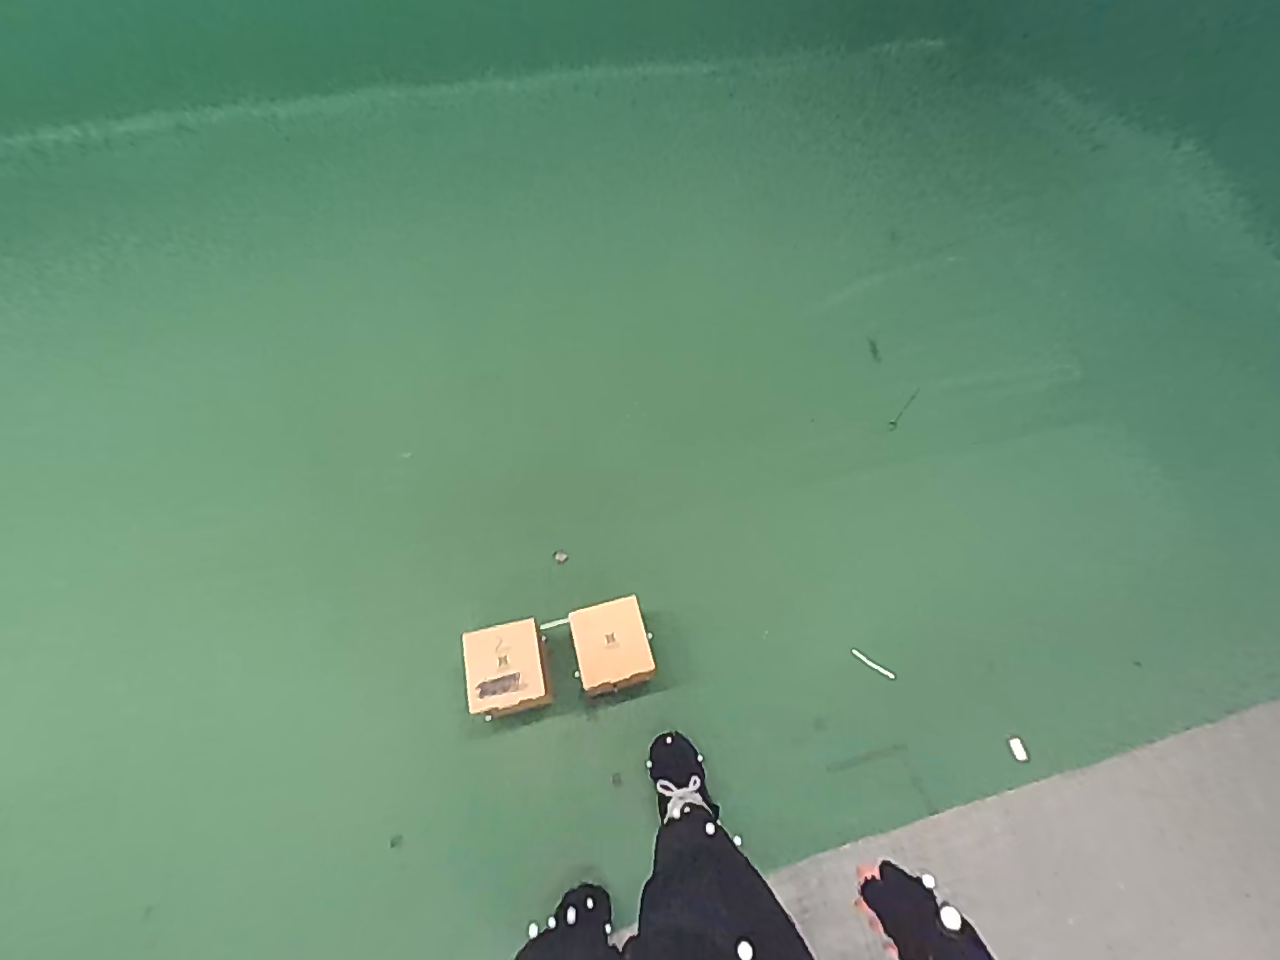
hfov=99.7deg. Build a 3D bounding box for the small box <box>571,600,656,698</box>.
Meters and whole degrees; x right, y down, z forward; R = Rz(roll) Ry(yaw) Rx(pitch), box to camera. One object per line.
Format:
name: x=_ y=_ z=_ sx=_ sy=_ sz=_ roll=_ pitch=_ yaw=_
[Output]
small box: x=-0.068 y=0.411 z=1.302 sx=0.168 sy=0.176 sz=0.179 roll=-13 pitch=65 yaw=-9
